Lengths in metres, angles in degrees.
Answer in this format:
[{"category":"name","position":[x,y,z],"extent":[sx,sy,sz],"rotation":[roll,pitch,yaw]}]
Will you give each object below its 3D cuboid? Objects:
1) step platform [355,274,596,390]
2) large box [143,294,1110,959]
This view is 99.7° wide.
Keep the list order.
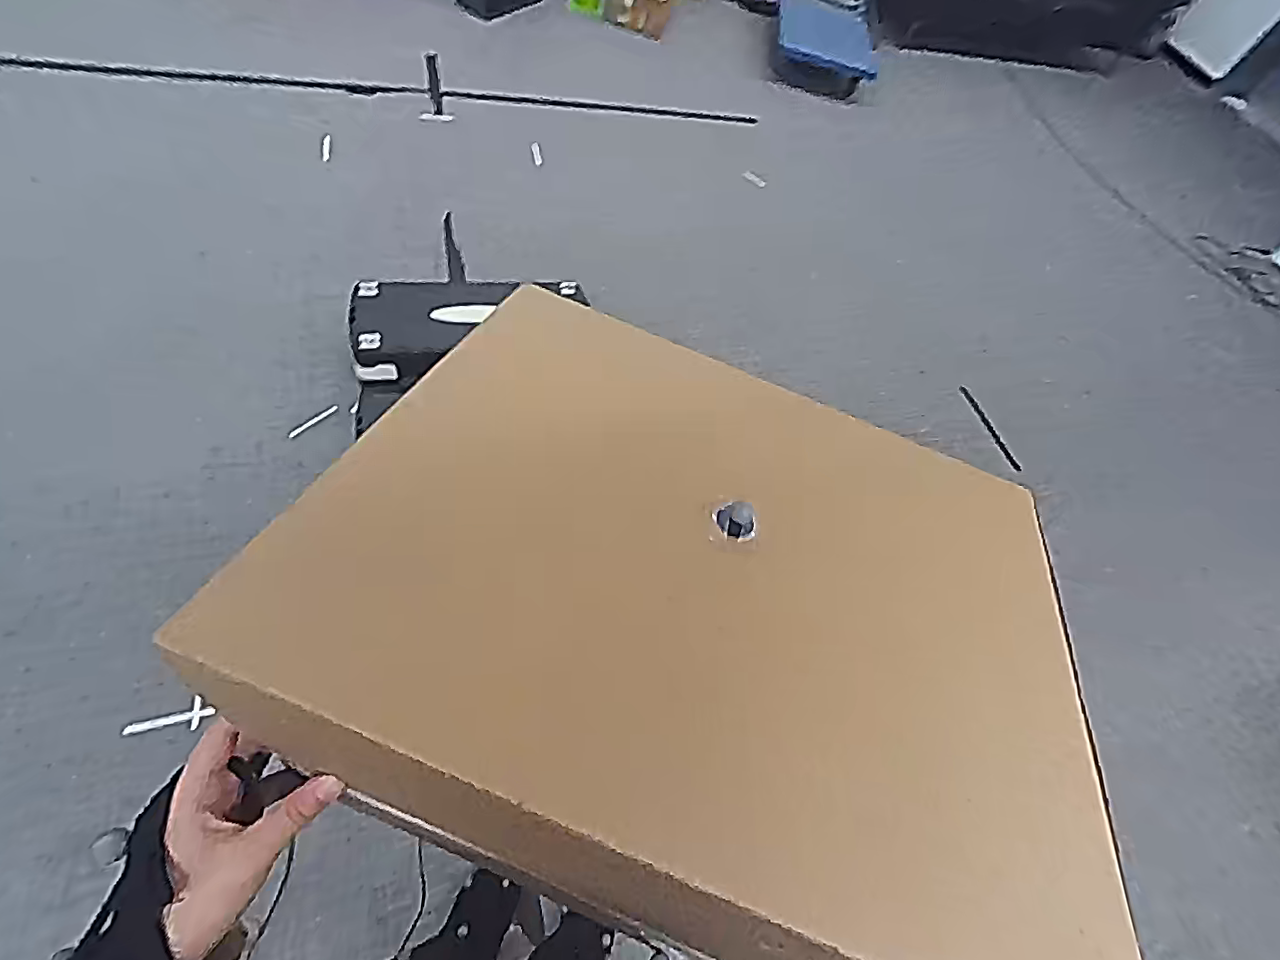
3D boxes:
[{"category":"step platform","position":[-0.468,-0.434,1.619],"extent":[0.684,0.204,0.286],"rotation":[-1,61,-15]},{"category":"large box","position":[0.002,0.119,0.409],"extent":[0.408,0.320,0.320],"rotation":[21,50,3]}]
